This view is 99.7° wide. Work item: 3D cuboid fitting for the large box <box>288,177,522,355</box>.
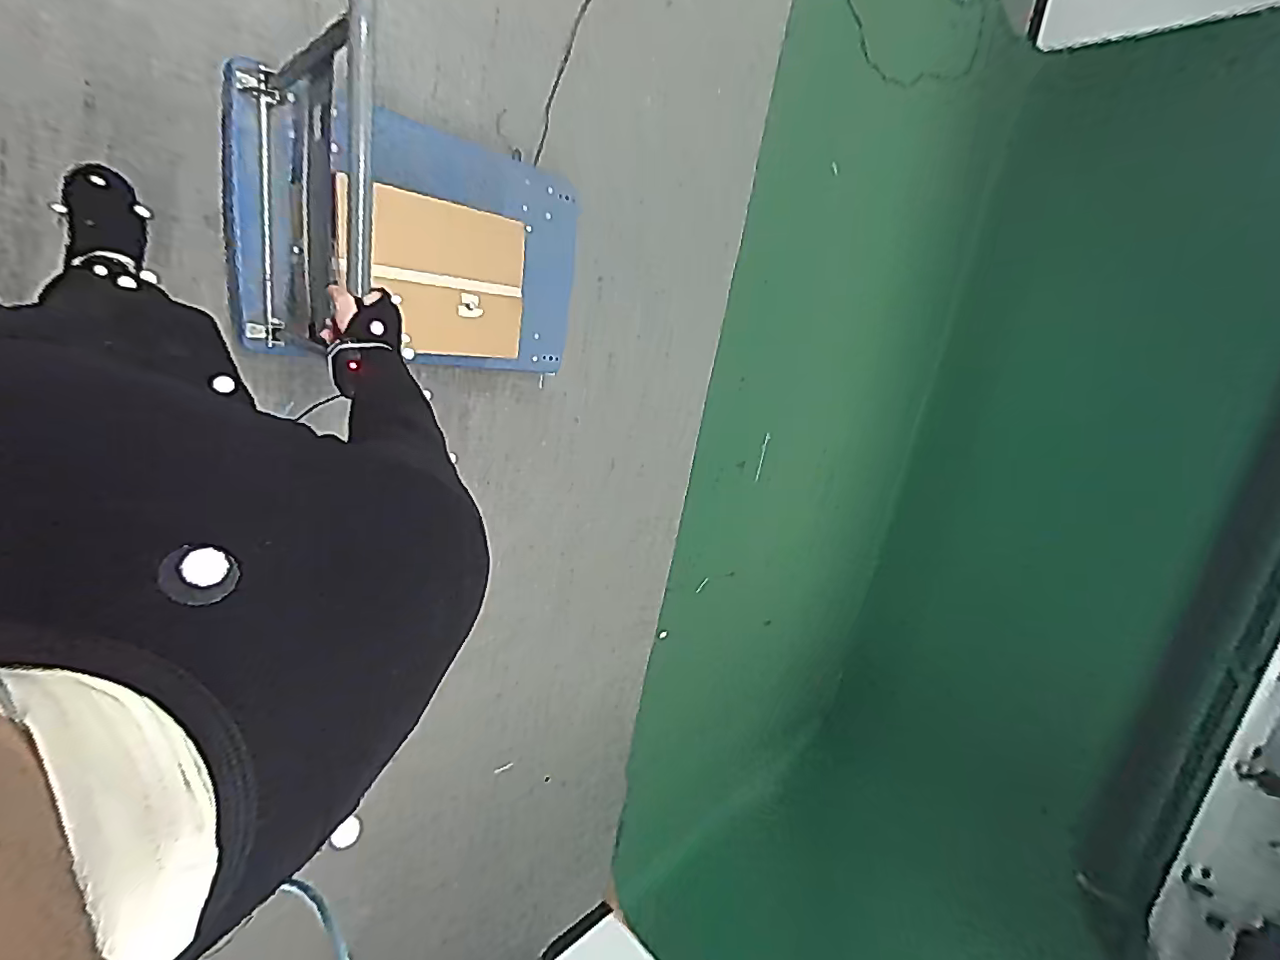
[{"bbox_3d":[-0.534,-0.467,1.251,0.408,0.320,0.320,-9,113,-45],"label":"large box"}]
